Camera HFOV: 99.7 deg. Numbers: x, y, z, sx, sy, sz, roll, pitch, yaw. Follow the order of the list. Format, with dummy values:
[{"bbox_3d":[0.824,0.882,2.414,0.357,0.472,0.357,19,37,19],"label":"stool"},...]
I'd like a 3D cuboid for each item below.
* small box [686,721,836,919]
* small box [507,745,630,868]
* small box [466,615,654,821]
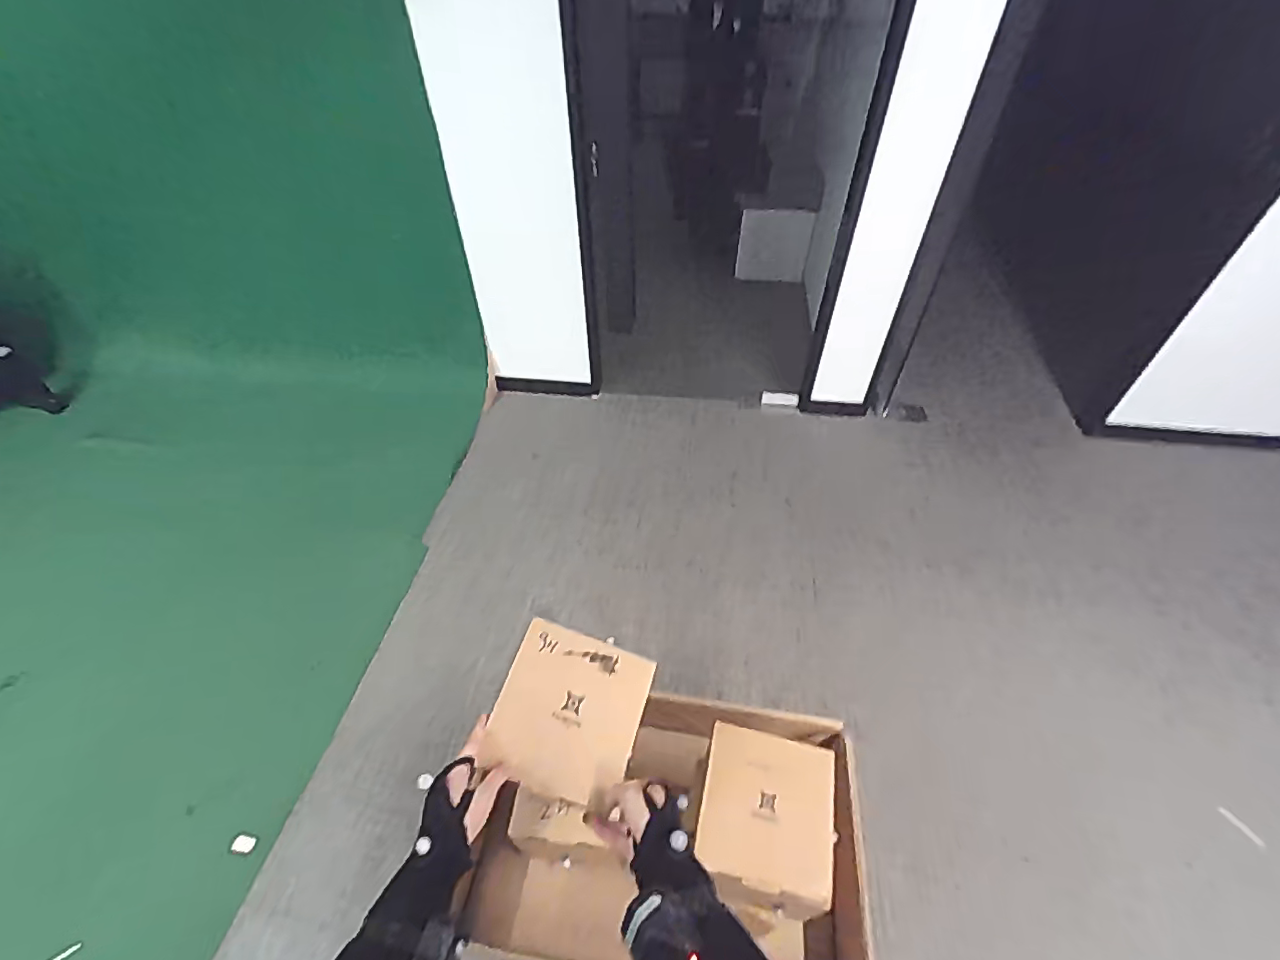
[{"bbox_3d":[0.160,0.466,0.738,0.168,0.176,0.179,12,47,10],"label":"small box"},{"bbox_3d":[-0.109,0.523,0.907,0.168,0.176,0.179,4,46,5],"label":"small box"},{"bbox_3d":[-0.099,0.300,0.689,0.168,0.176,0.179,22,61,-1],"label":"small box"}]
